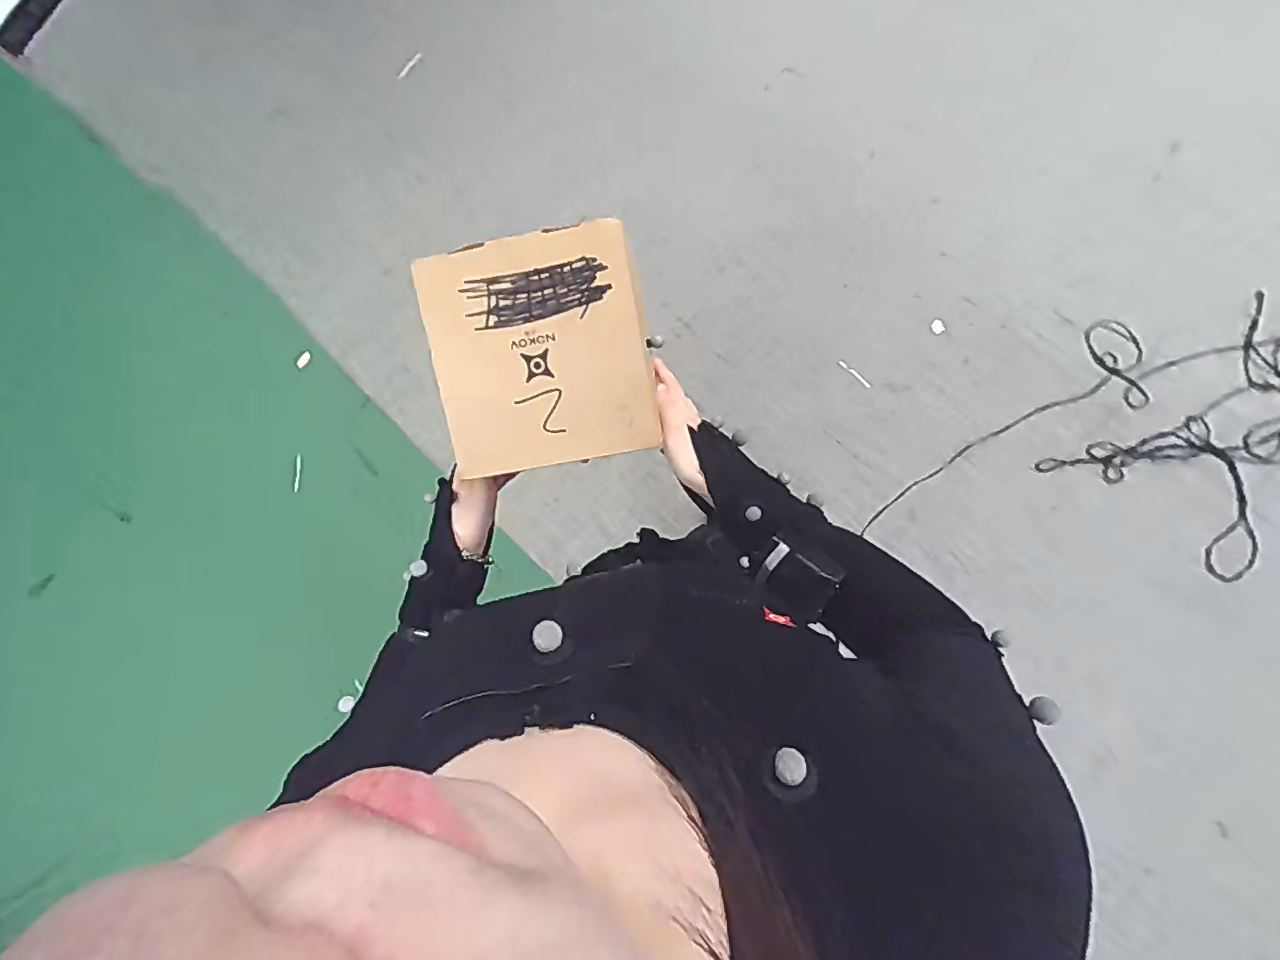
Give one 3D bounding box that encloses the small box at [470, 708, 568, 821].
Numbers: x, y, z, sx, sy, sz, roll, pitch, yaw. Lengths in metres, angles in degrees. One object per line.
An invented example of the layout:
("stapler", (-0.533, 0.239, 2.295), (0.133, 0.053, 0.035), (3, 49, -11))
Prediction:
("small box", (-0.312, 0.751, 1.451), (0.168, 0.176, 0.179), (42, 94, 9))
